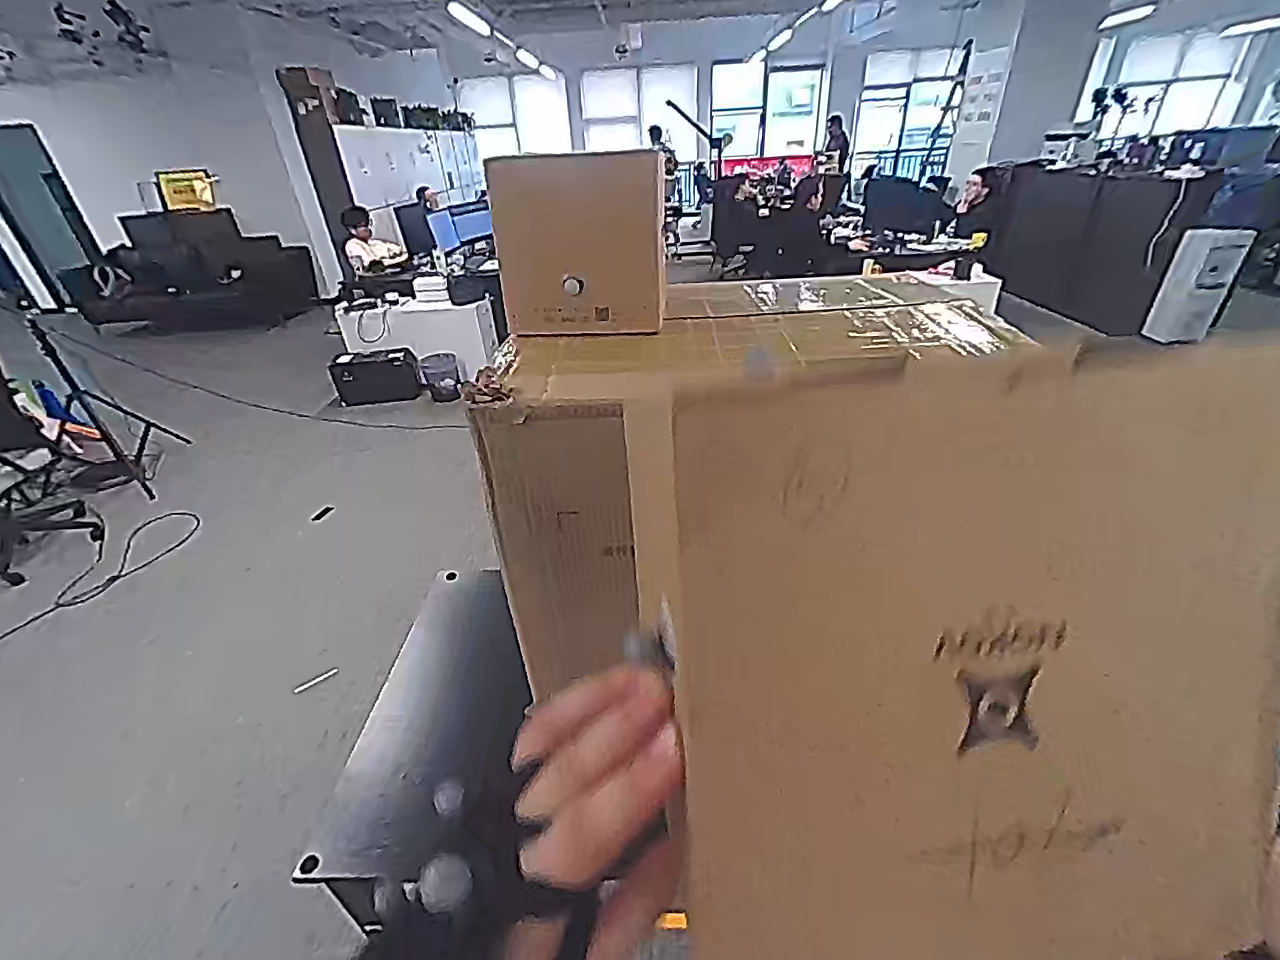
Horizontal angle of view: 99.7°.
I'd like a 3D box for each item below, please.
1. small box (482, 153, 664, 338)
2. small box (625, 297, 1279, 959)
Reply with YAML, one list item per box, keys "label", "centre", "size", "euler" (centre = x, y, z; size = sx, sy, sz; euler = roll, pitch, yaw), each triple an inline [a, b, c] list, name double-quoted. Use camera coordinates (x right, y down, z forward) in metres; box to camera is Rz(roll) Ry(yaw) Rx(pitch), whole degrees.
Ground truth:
- label: "small box"
  centre: [-0.059, -0.266, 0.609]
  size: [0.168, 0.176, 0.179]
  euler: [0, 32, 5]
- label: "small box"
  centre: [0.085, 0.034, 0.225]
  size: [0.168, 0.179, 0.176]
  euler: [-6, 9, -4]
